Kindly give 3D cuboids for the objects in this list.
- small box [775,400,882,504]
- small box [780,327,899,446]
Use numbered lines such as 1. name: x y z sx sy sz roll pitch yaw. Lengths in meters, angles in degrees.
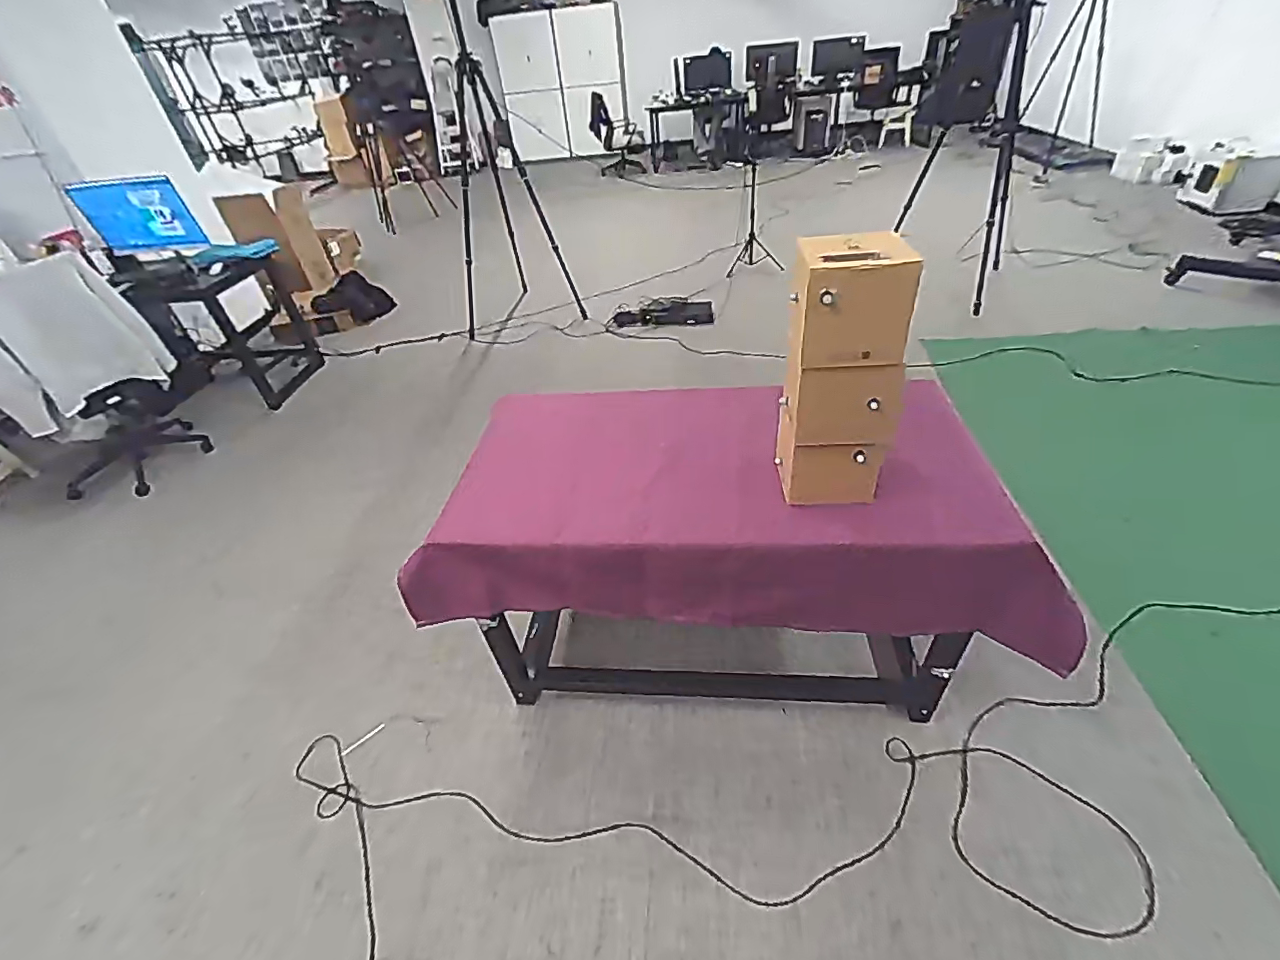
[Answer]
1. small box: 0.391 -0.062 1.155 0.179 0.176 0.168 -3 38 6
2. small box: 0.372 -0.179 1.041 0.179 0.176 0.168 -2 38 8
